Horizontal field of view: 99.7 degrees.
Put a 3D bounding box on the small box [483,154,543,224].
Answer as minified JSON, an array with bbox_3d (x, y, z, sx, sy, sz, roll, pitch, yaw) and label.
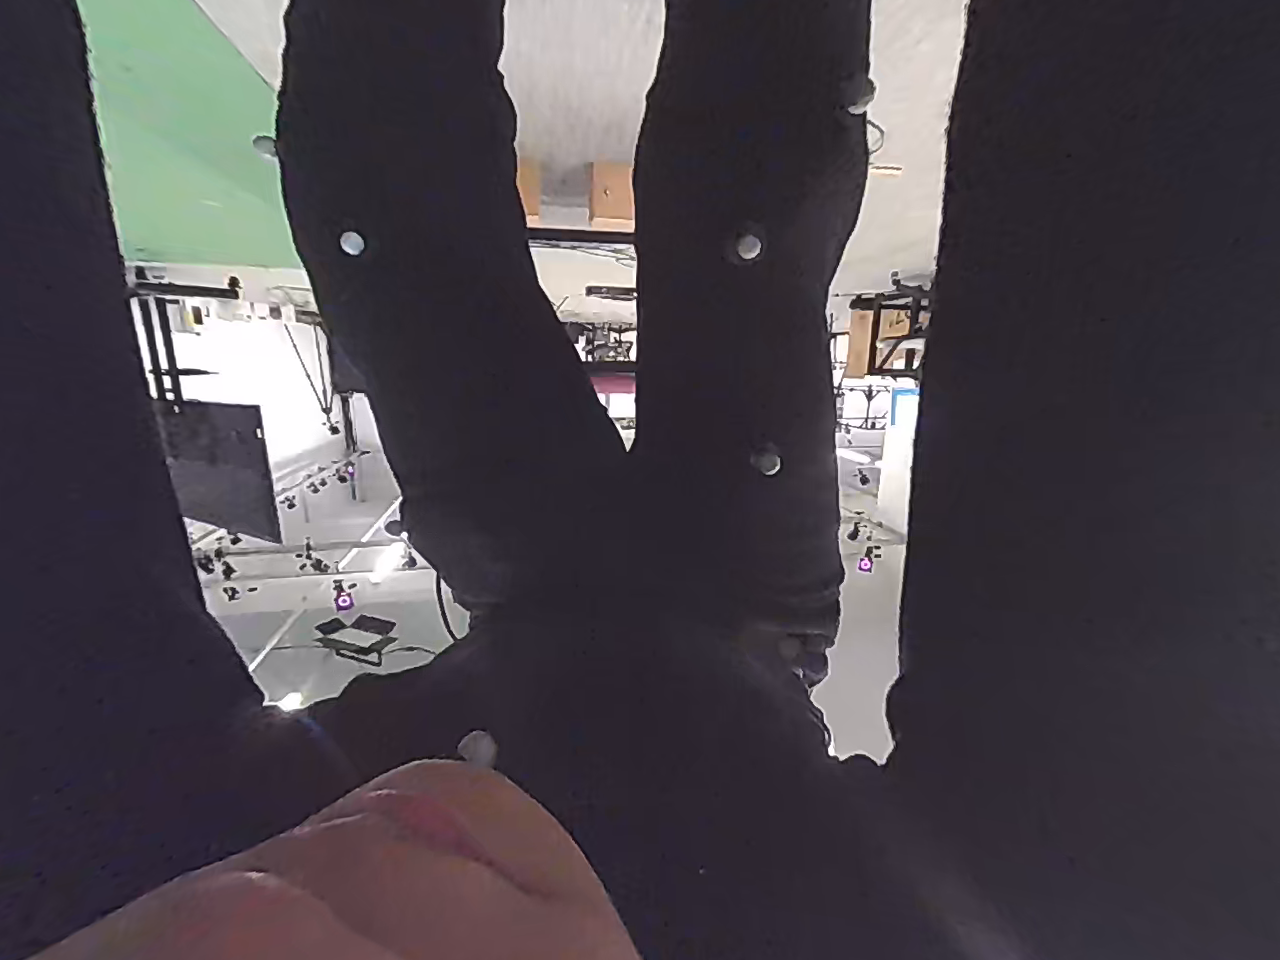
[{"bbox_3d":[-0.412,-0.951,1.773,0.179,0.176,0.168,-1,-167,-8],"label":"small box"}]

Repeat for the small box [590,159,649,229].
[{"bbox_3d":[-0.072,-0.959,1.816,0.179,0.176,0.168,-2,-166,-11],"label":"small box"}]
